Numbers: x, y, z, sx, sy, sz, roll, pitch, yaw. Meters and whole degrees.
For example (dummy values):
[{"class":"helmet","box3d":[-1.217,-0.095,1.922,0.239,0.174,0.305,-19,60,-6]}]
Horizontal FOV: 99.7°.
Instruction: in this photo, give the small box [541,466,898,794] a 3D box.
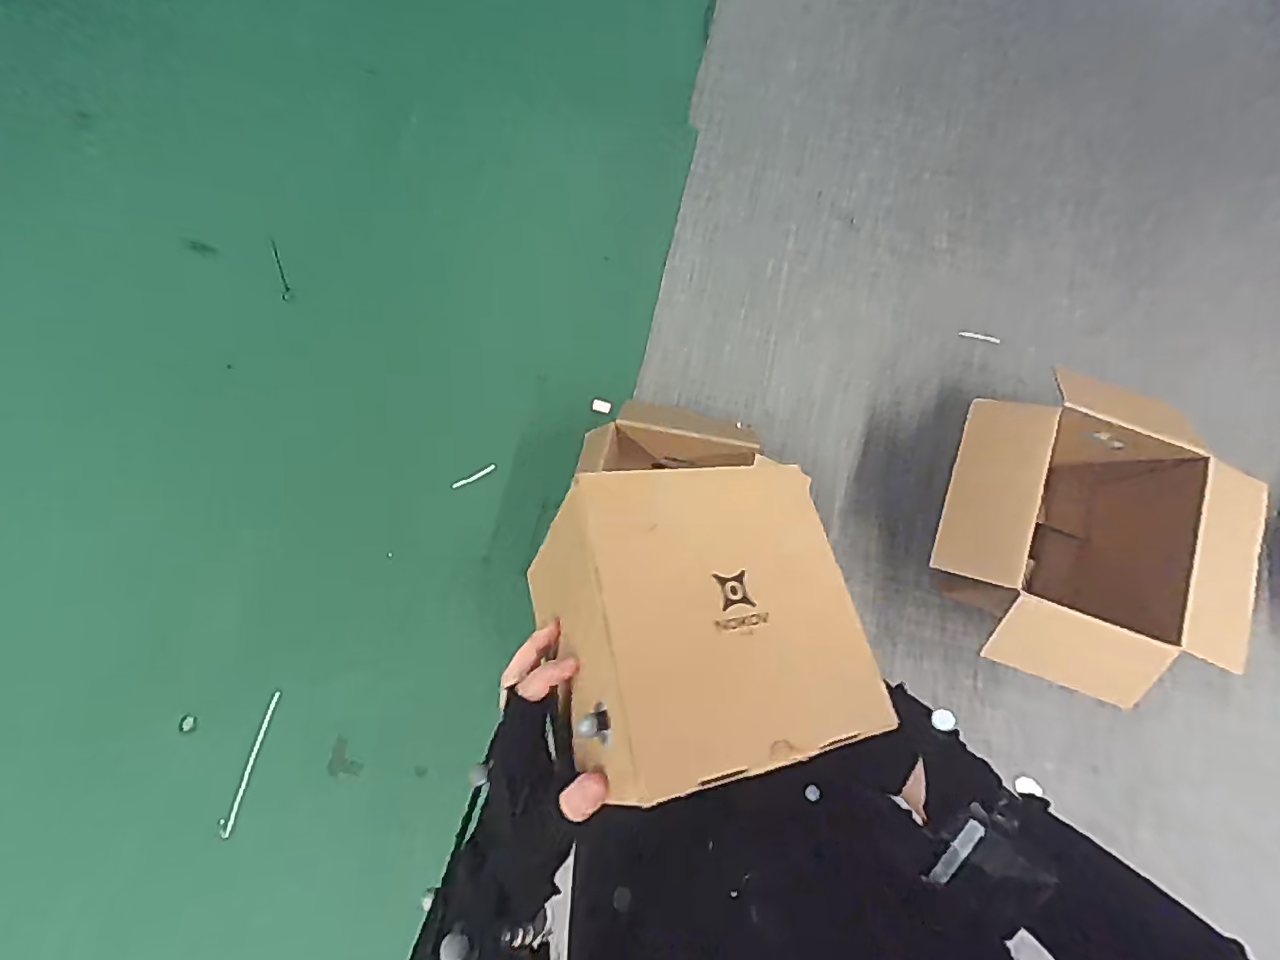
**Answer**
[{"class":"small box","box3d":[0.033,0.108,0.388,0.168,0.176,0.179,-4,63,-23]}]
